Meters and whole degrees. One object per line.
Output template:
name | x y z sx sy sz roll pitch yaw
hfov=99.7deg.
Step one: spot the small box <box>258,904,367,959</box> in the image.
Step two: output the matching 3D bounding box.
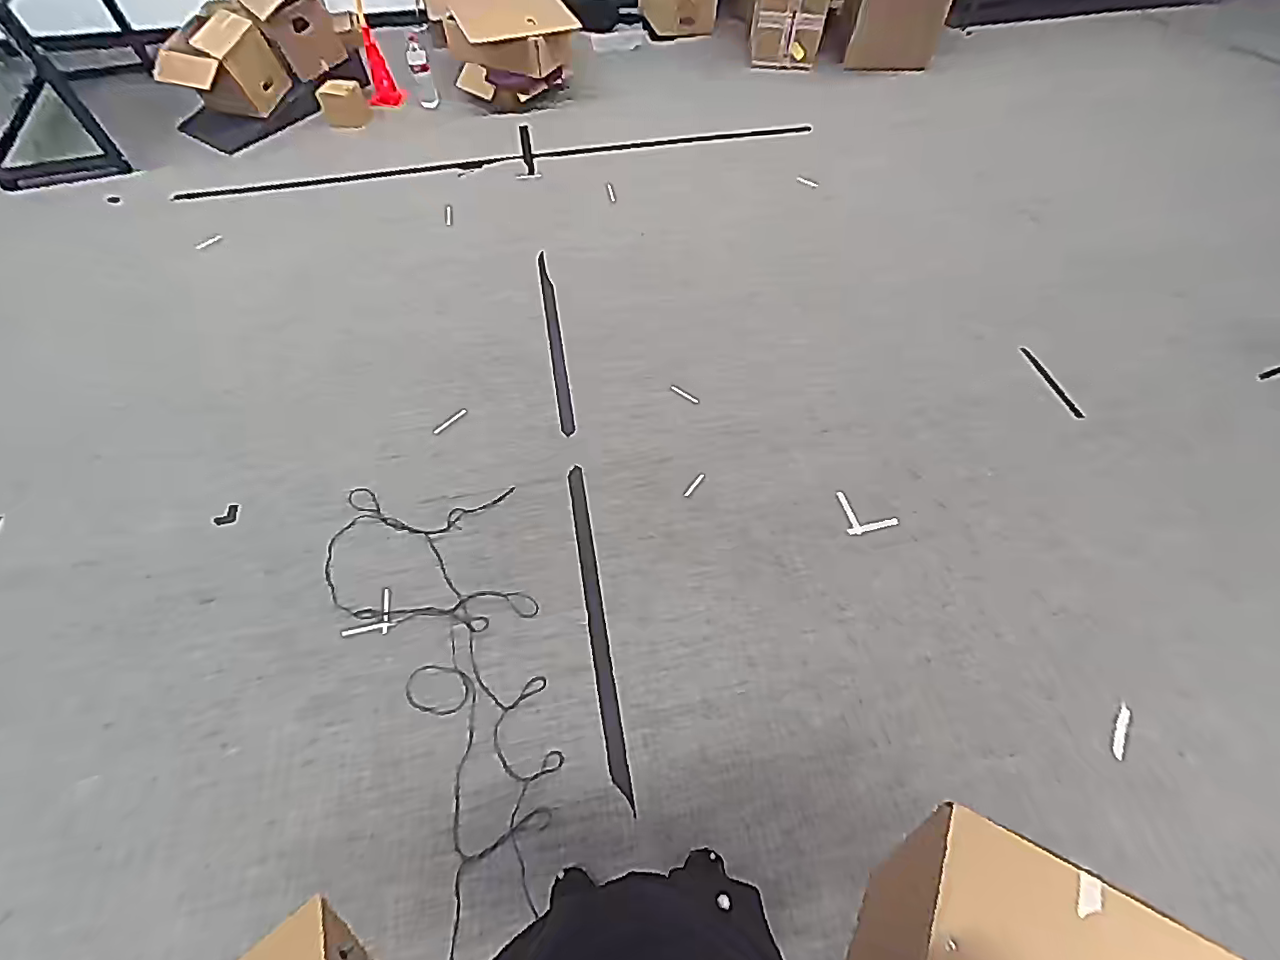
small box | -0.413 0.688 0.654 0.168 0.179 0.176 -33 102 -30
